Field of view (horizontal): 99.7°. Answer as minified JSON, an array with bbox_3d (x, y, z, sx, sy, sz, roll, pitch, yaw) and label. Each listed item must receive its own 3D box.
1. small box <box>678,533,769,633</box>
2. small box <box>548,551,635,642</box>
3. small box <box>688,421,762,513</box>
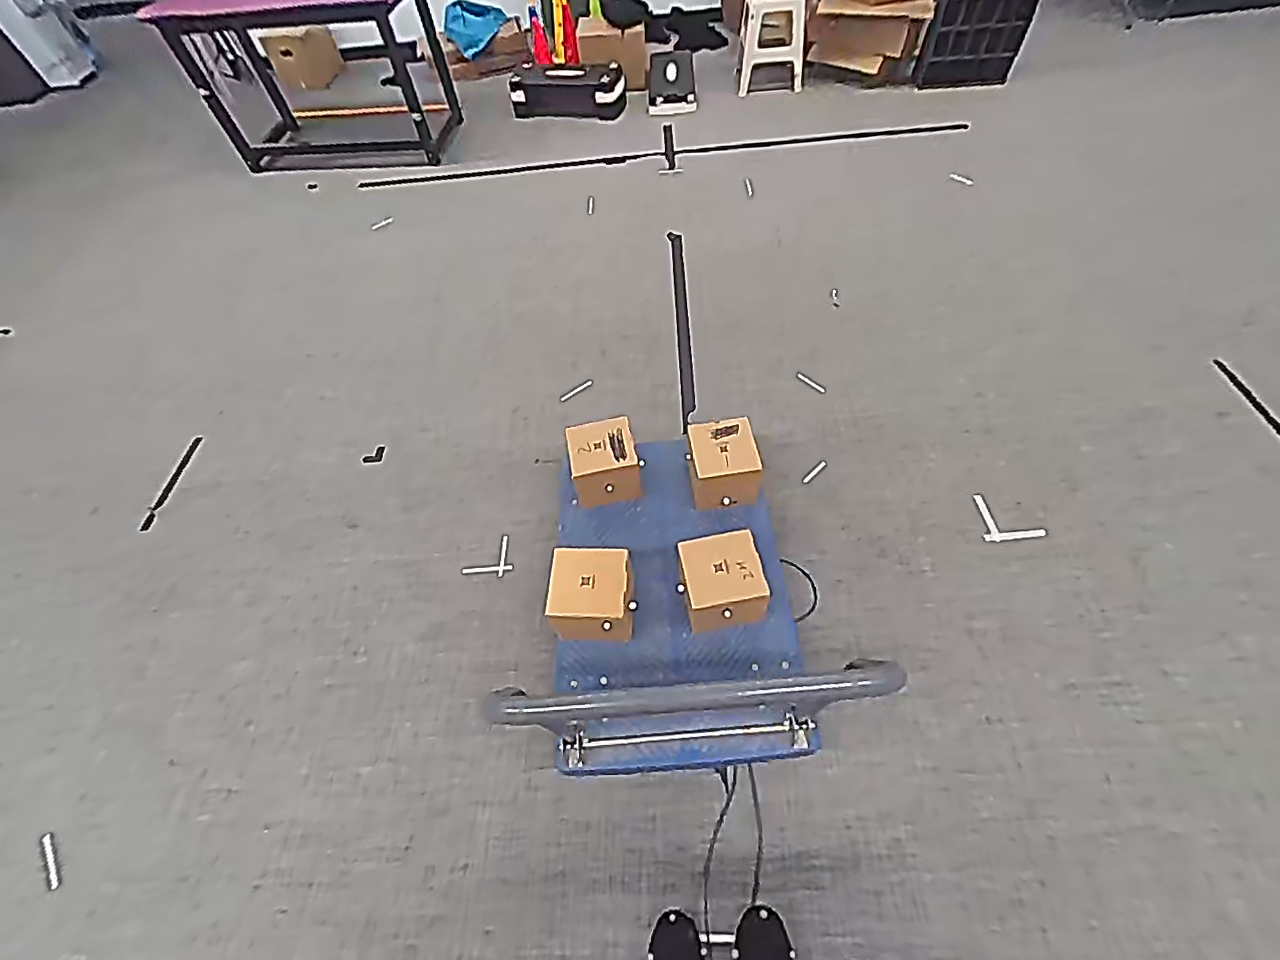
[{"bbox_3d":[0.193,0.250,1.283,0.179,0.176,0.168,-10,56,-1],"label":"small box"},{"bbox_3d":[-0.109,0.282,1.292,0.179,0.176,0.168,0,56,4],"label":"small box"},{"bbox_3d":[0.224,-0.033,1.470,0.168,0.176,0.179,-8,57,0],"label":"small box"}]
